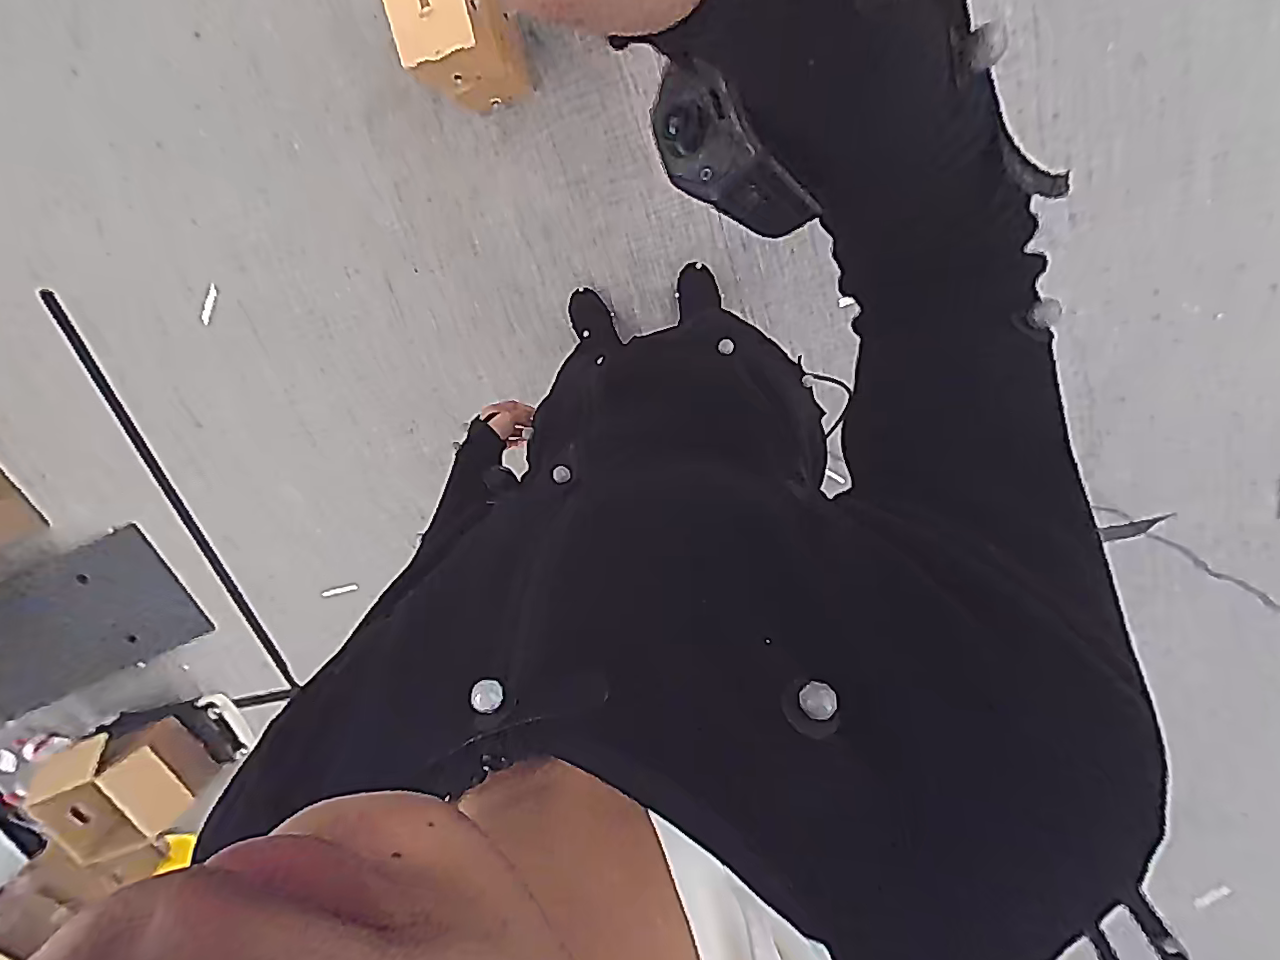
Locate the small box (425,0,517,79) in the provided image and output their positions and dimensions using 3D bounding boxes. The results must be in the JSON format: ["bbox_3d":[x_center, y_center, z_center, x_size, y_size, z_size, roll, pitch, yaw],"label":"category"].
[{"bbox_3d":[-0.394,-1.030,1.188,0.168,0.176,0.179,-12,110,13],"label":"small box"}]

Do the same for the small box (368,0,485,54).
[{"bbox_3d":[-0.424,-0.972,1.040,0.168,0.176,0.179,-9,111,12],"label":"small box"}]
